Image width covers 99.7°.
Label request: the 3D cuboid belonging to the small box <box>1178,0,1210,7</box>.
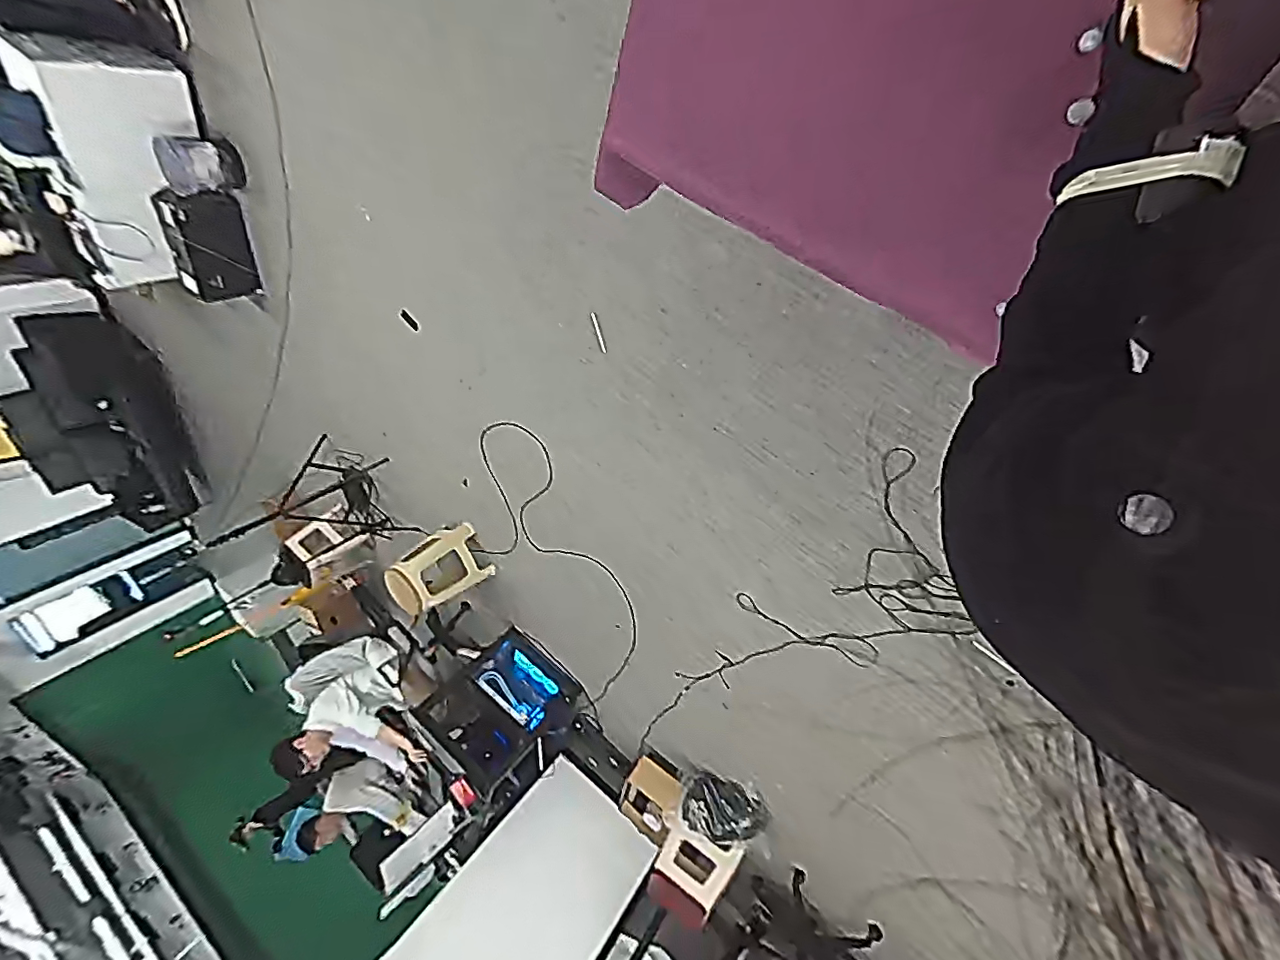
[{"bbox_3d":[0.399,-0.409,0.290,0.179,0.176,0.168,-14,108,46],"label":"small box"}]
